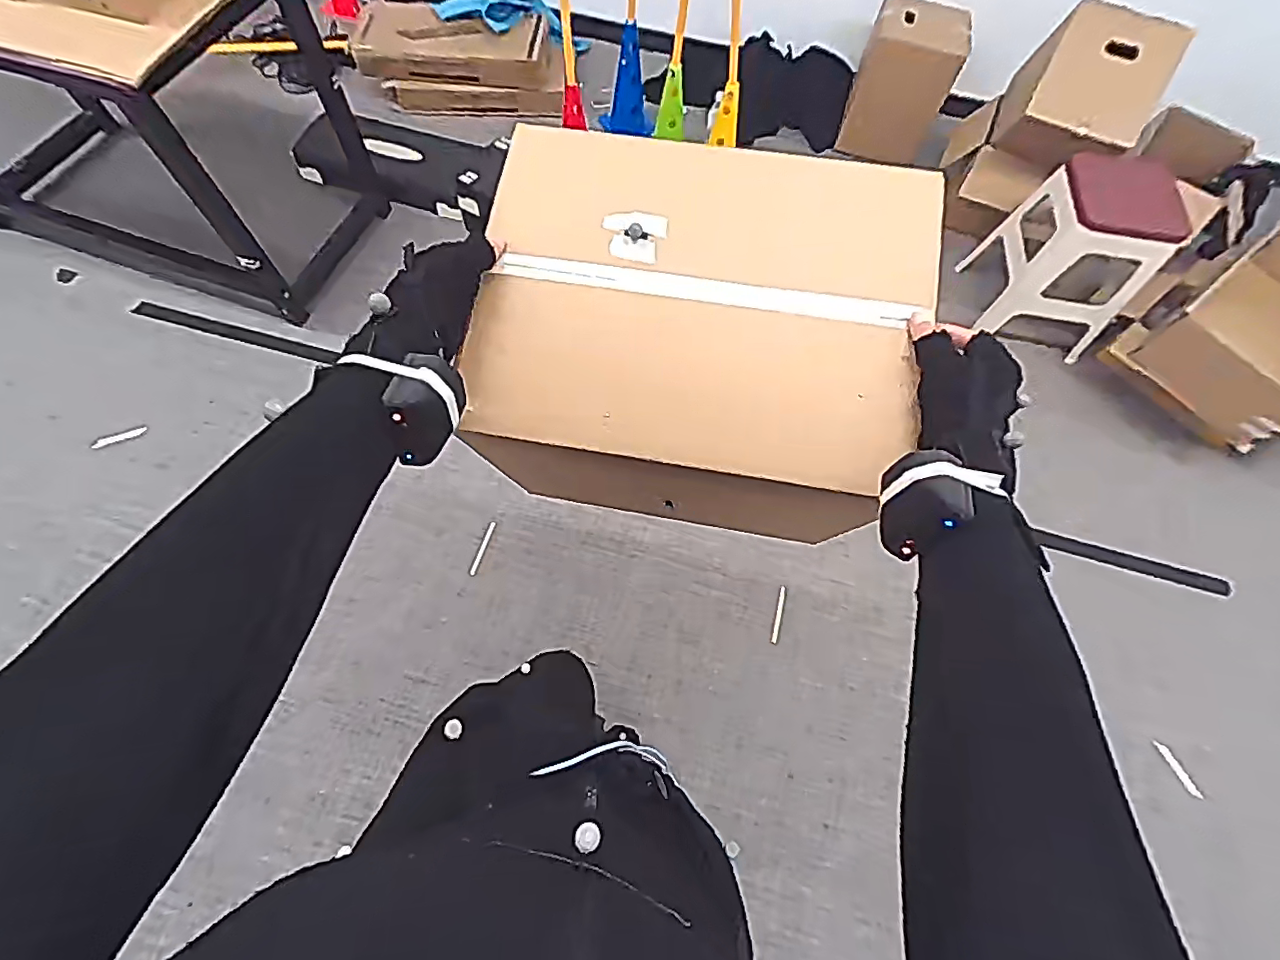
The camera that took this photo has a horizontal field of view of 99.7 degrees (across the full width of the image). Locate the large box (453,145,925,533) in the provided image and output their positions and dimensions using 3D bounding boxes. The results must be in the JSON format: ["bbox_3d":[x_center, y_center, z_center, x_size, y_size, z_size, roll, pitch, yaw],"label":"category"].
[{"bbox_3d":[0.061,-0.132,0.643,0.408,0.320,0.320,10,77,6],"label":"large box"}]
